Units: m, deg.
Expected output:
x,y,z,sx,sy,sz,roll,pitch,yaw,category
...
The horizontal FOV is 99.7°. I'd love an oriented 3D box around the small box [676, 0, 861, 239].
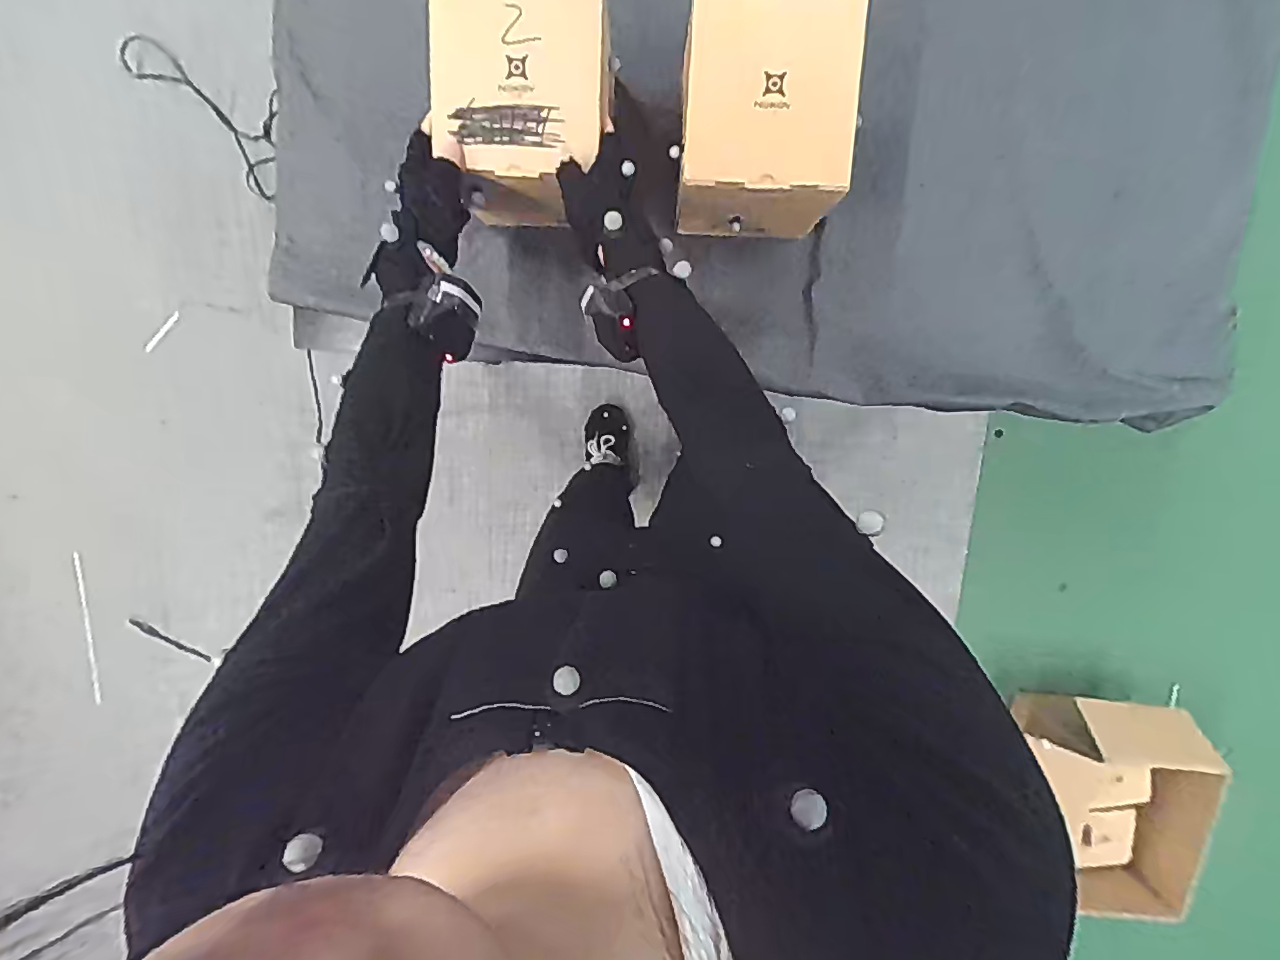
x,y,z,sx,sy,sz,roll,pitch,yaw,category
0.129,-0.391,0.612,0.168,0.176,0.179,3,100,0,small box
